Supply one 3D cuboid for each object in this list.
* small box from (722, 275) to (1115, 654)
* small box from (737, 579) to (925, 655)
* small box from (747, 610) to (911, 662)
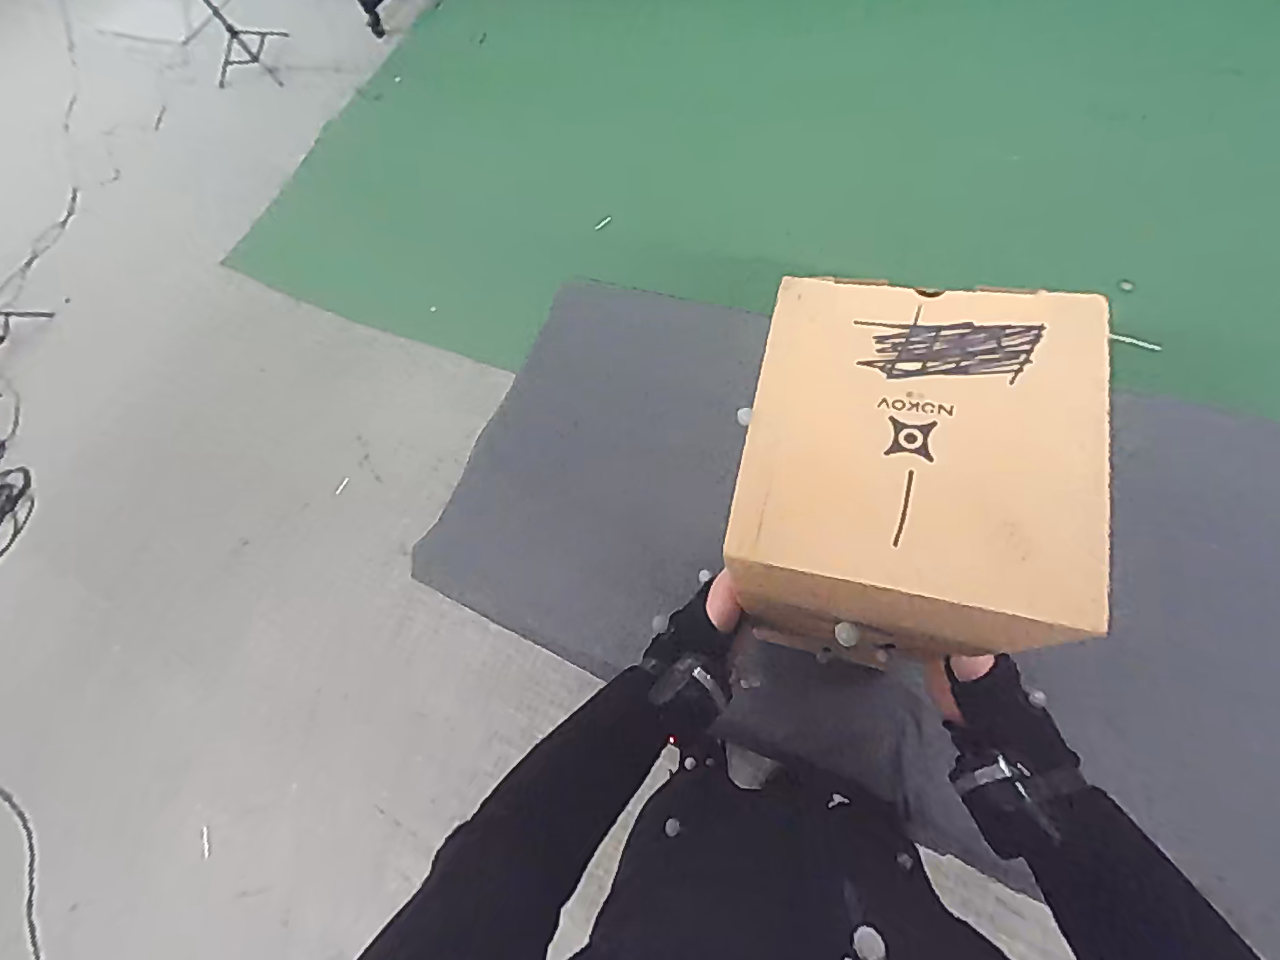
[{"bbox_3d":[0.155,0.001,0.343,0.168,0.176,0.179,10,74,17],"label":"small box"},{"bbox_3d":[0.190,0.054,0.495,0.168,0.176,0.179,9,71,16],"label":"small box"},{"bbox_3d":[0.231,0.109,0.643,0.168,0.176,0.179,10,72,18],"label":"small box"}]
